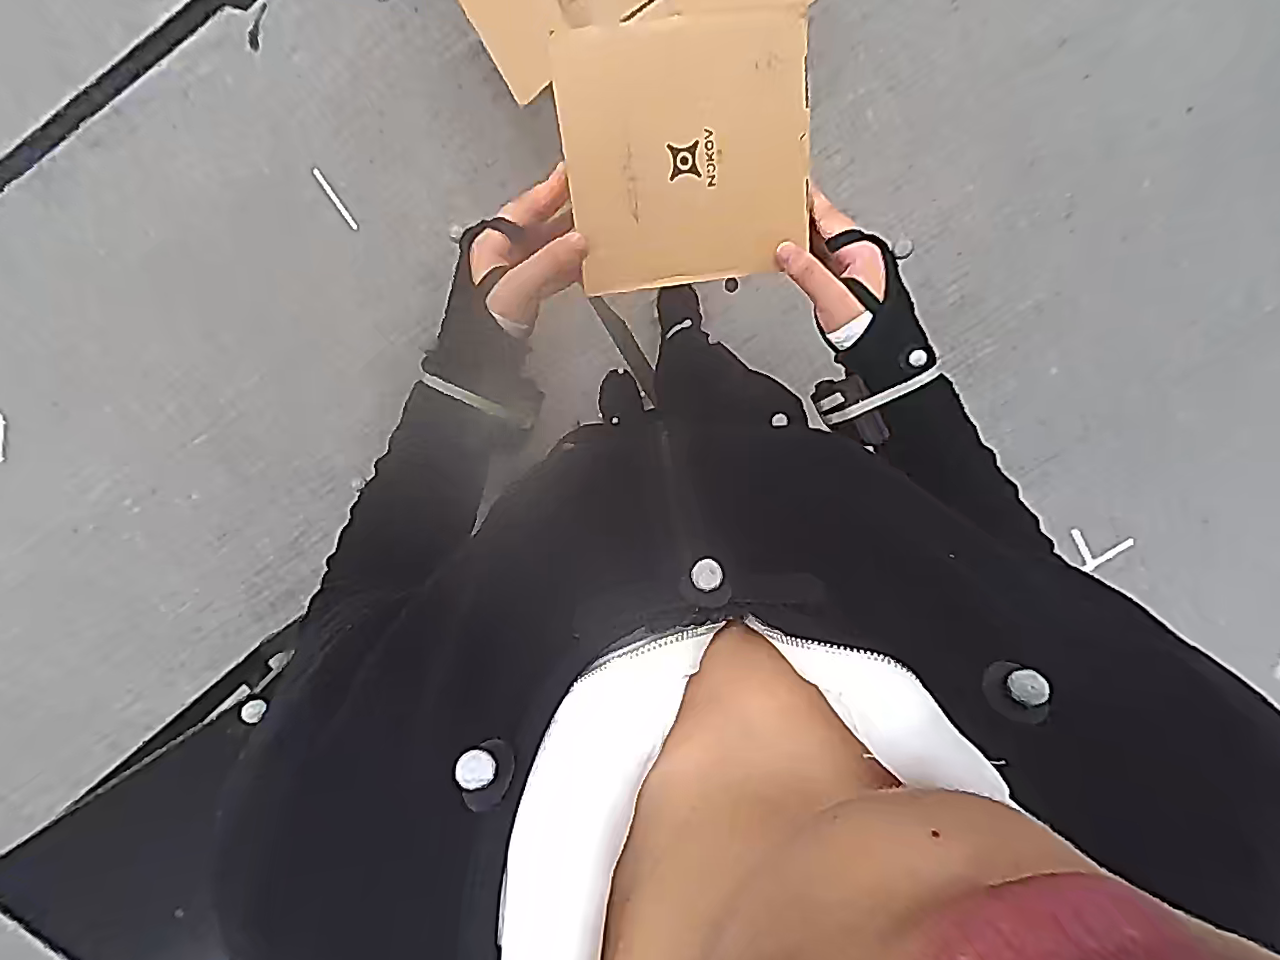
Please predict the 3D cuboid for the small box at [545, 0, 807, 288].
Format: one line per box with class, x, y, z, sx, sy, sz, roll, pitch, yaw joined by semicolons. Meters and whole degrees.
small box;0.026;-0.263;0.457;0.179;0.176;0.168;-9;111;-1
